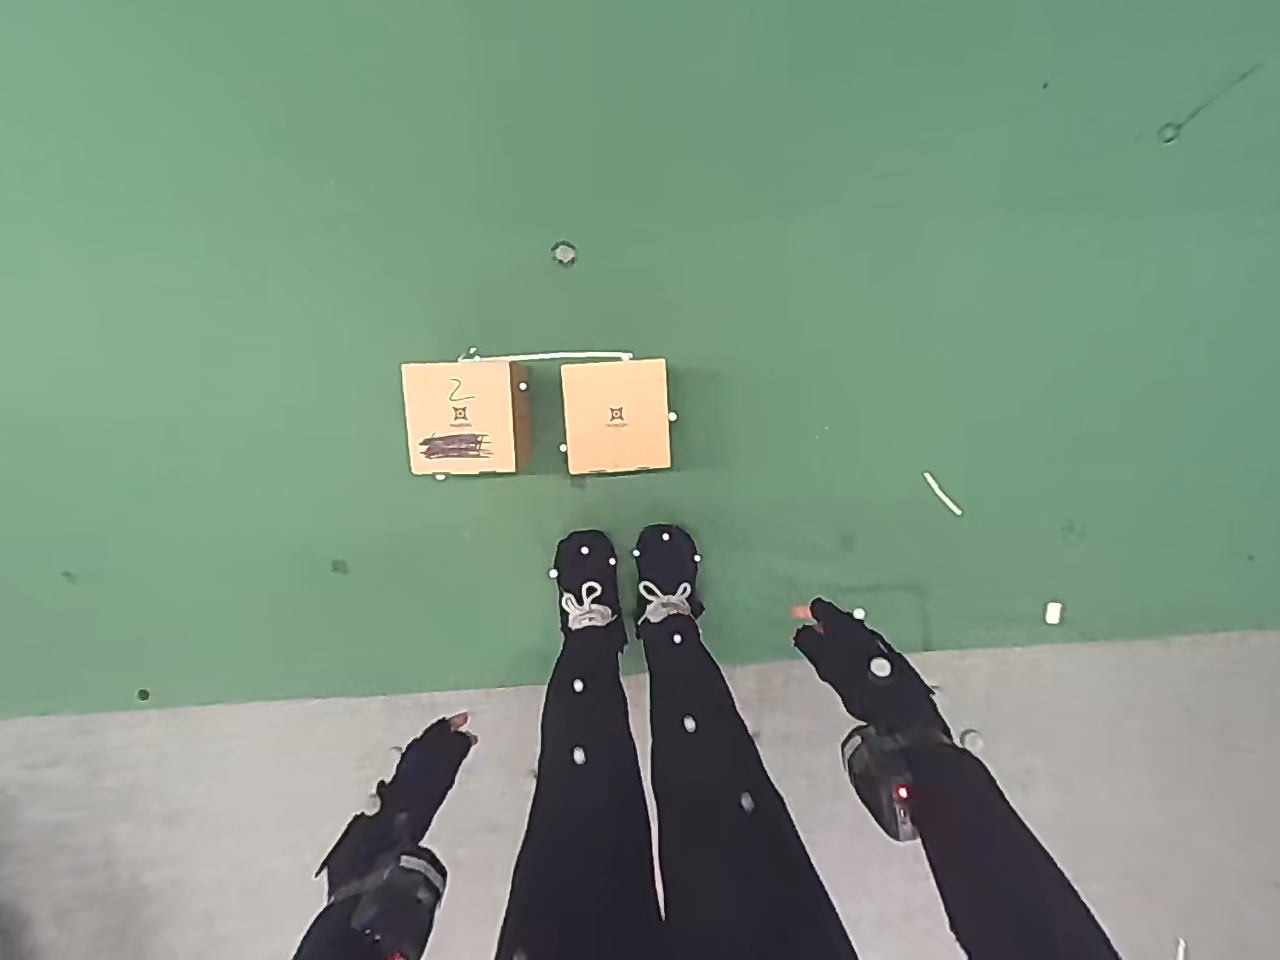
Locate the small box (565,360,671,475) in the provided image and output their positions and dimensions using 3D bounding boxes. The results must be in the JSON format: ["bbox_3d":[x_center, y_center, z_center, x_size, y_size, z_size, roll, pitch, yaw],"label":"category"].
[{"bbox_3d":[-0.039,-0.111,0.933,0.168,0.176,0.179,-4,102,-3],"label":"small box"}]
